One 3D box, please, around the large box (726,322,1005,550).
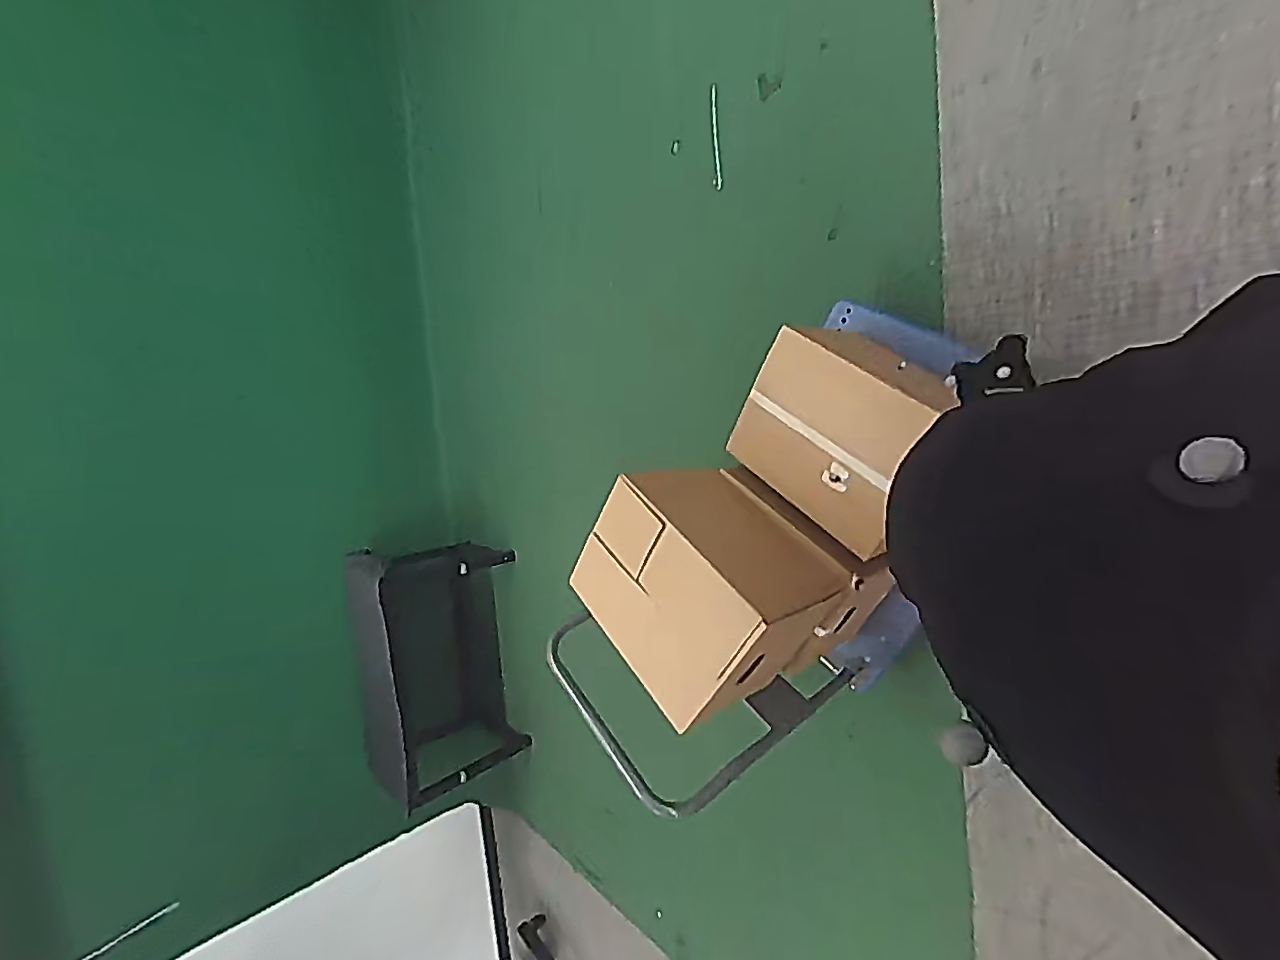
[{"bbox_3d":[0.474,-0.114,1.183,0.408,0.320,0.320,44,127,33],"label":"large box"}]
